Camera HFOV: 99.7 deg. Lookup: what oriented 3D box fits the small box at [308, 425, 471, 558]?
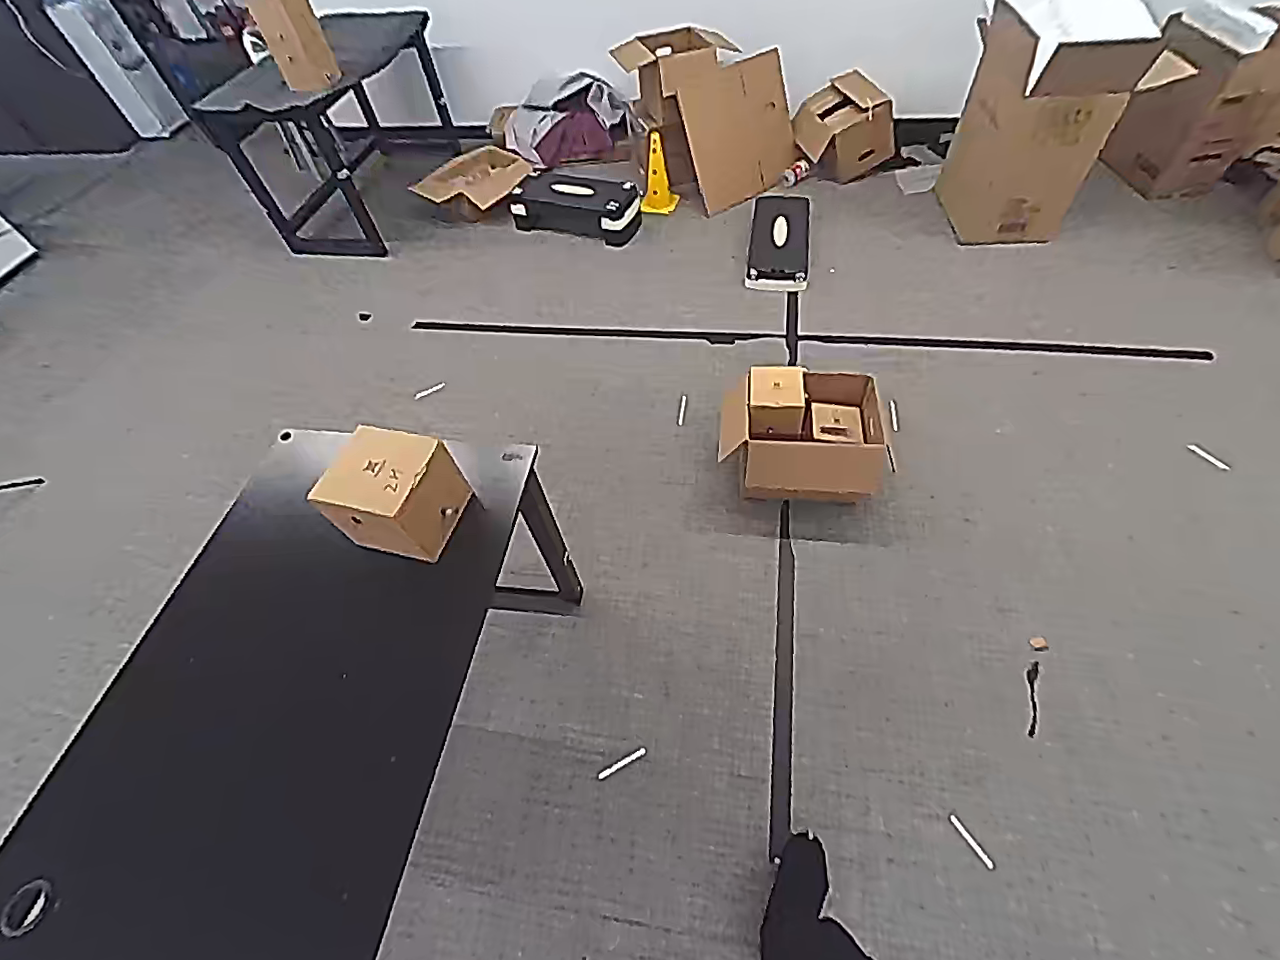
[{"bbox_3d":[-0.443,0.025,0.988,0.179,0.176,0.168,11,58,13],"label":"small box"}]
